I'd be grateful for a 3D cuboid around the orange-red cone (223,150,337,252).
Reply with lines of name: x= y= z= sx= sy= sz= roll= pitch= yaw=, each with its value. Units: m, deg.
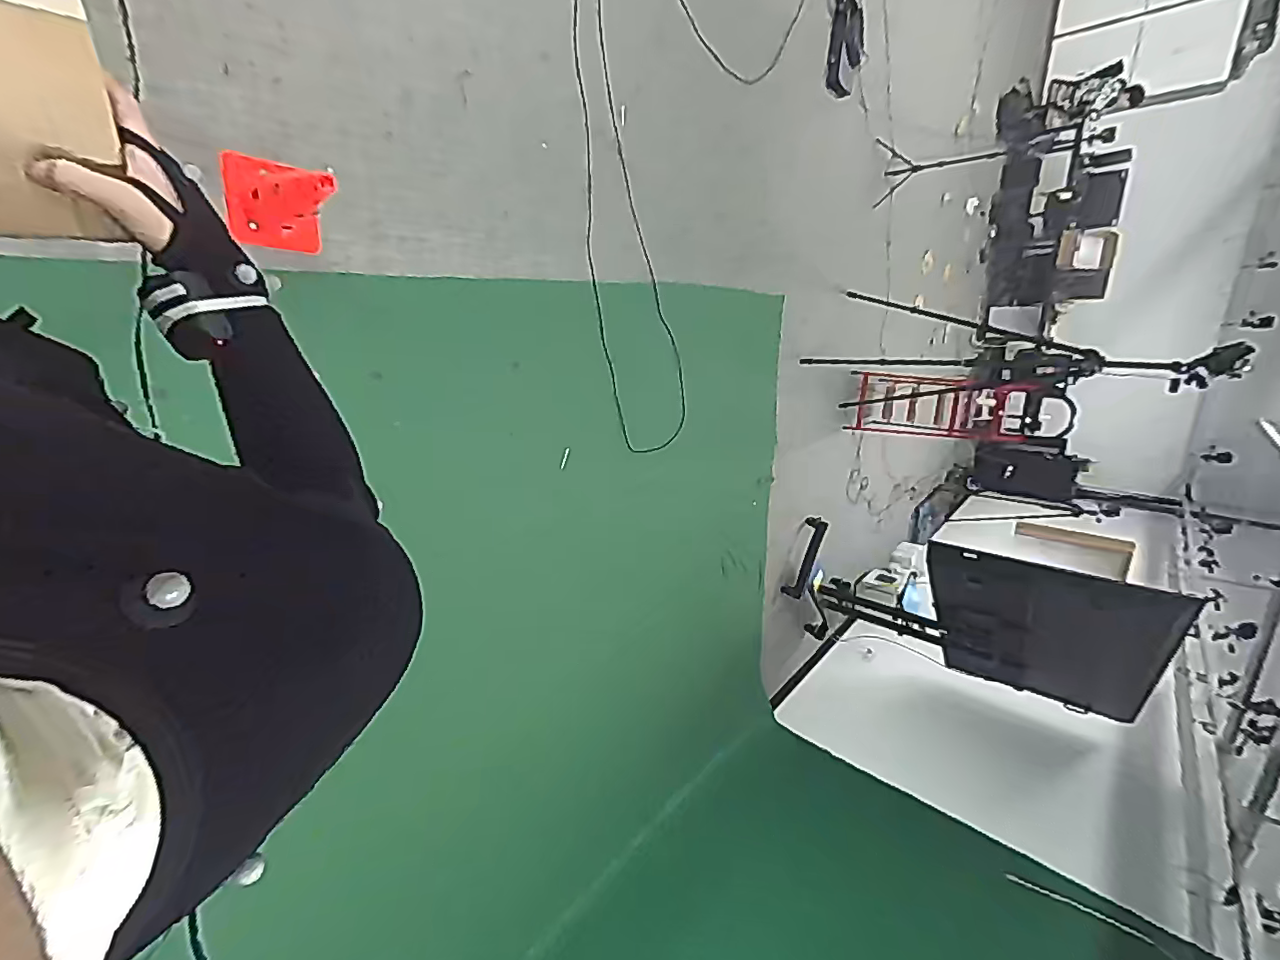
orange-red cone: x=-0.776 y=-0.648 z=1.228 sx=0.199 sy=0.360 sz=0.198 roll=-10 pitch=110 yaw=-49
